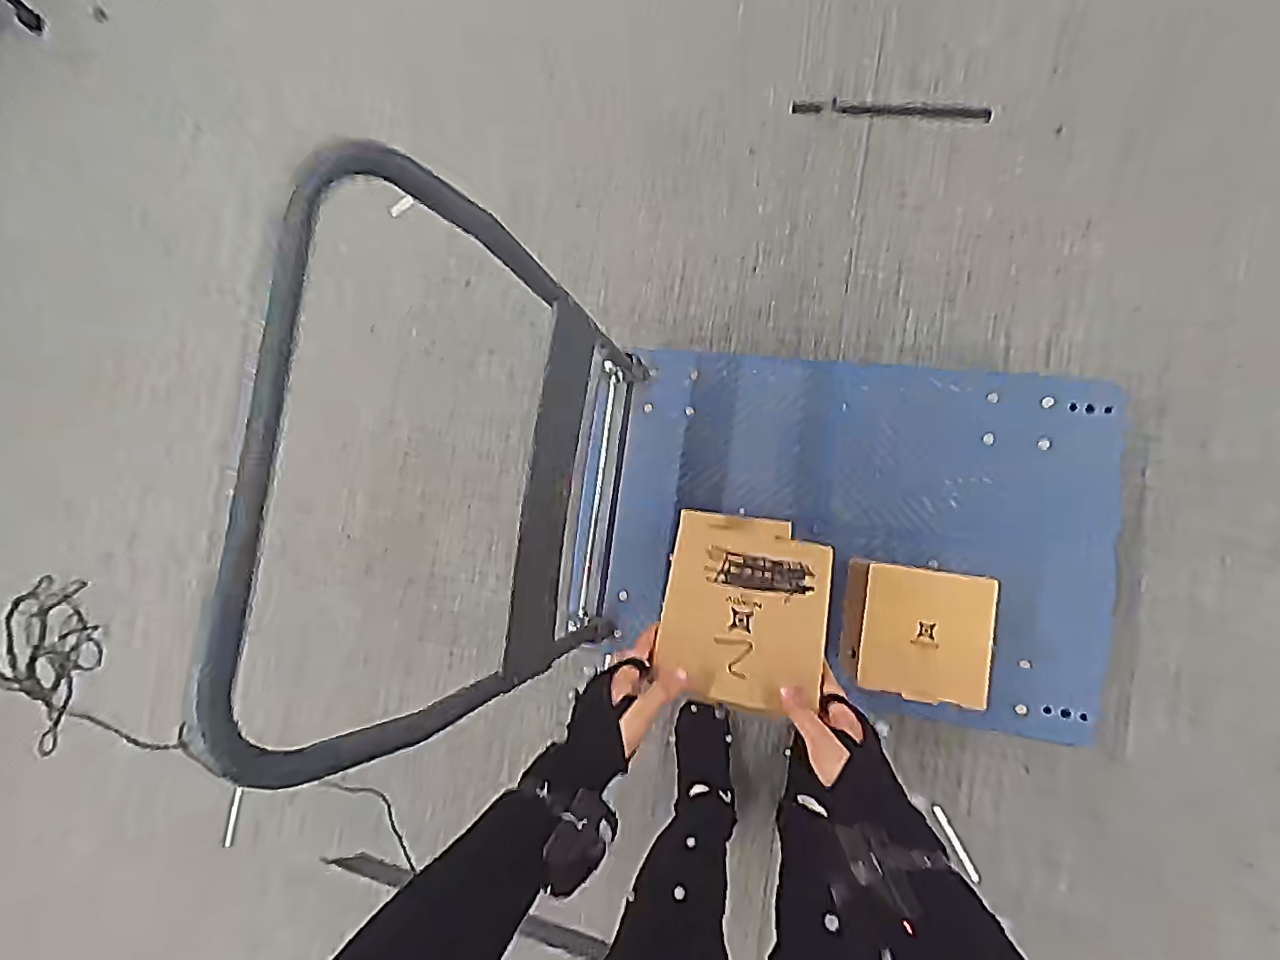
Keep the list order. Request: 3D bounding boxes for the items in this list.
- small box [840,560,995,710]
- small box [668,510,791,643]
[{"bbox_3d":[0.405,0.218,0.815,0.168,0.176,0.179,7,86,13],"label":"small box"},{"bbox_3d":[0.147,0.148,0.876,0.168,0.176,0.179,6,86,13],"label":"small box"}]
